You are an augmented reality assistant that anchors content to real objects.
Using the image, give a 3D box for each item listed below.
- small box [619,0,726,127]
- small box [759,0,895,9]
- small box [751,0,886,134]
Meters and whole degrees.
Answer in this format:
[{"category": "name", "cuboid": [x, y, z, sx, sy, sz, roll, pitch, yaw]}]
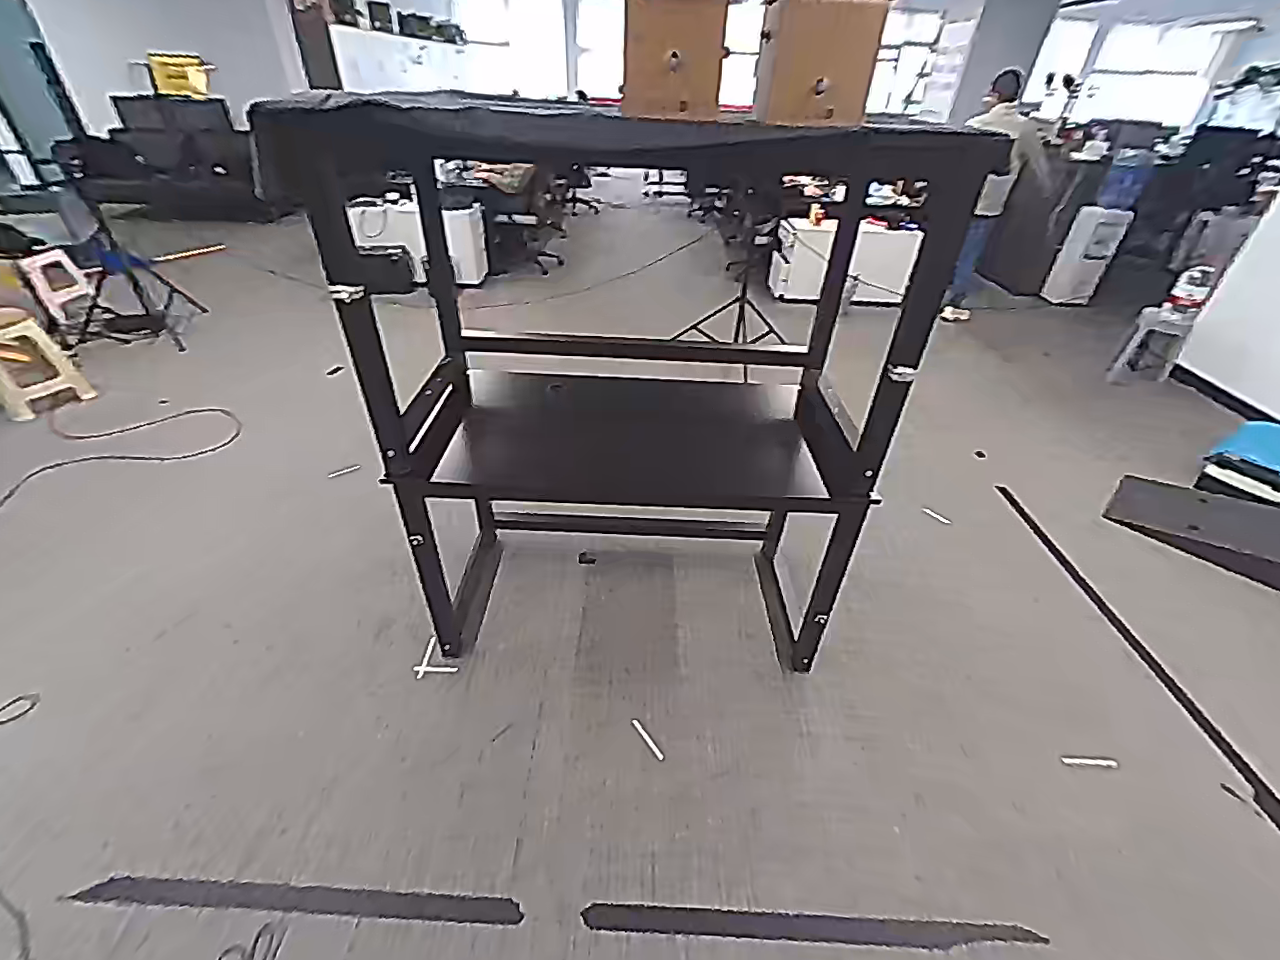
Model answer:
[{"category": "small box", "cuboid": [0.054, -0.714, 0.931, 0.168, 0.176, 0.179, 4, 36, 2]}, {"category": "small box", "cuboid": [0.297, -0.831, 0.820, 0.179, 0.176, 0.168, 1, 35, -4]}, {"category": "small box", "cuboid": [0.291, -0.702, 0.928, 0.168, 0.176, 0.179, 2, 36, 1]}]
